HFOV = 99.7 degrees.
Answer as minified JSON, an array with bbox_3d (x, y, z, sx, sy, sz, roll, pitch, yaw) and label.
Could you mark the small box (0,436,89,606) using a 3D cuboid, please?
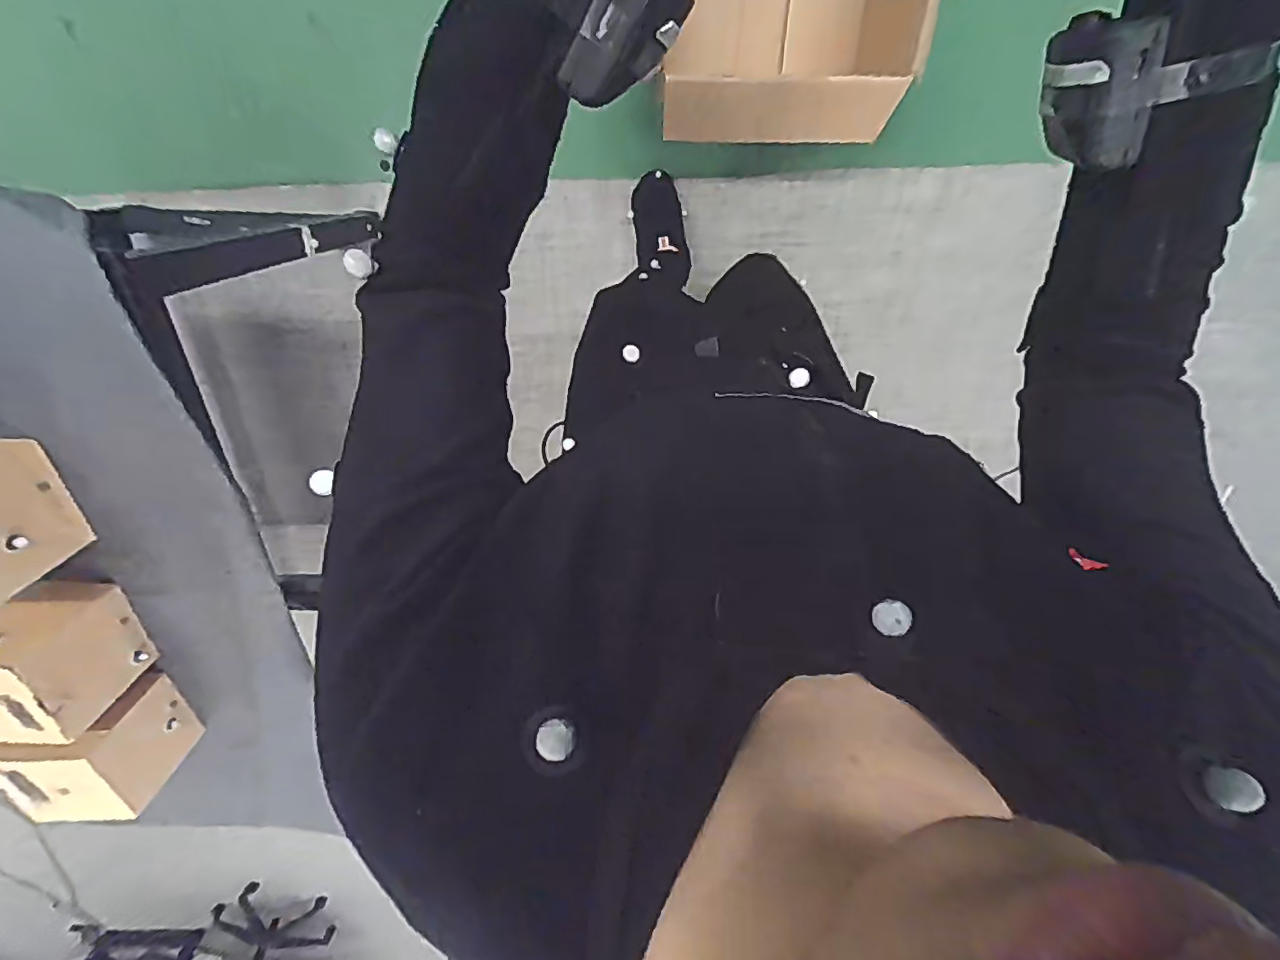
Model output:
[{"bbox_3d":[-0.887,0.050,0.700,0.179,0.176,0.168,1,121,1],"label":"small box"}]
